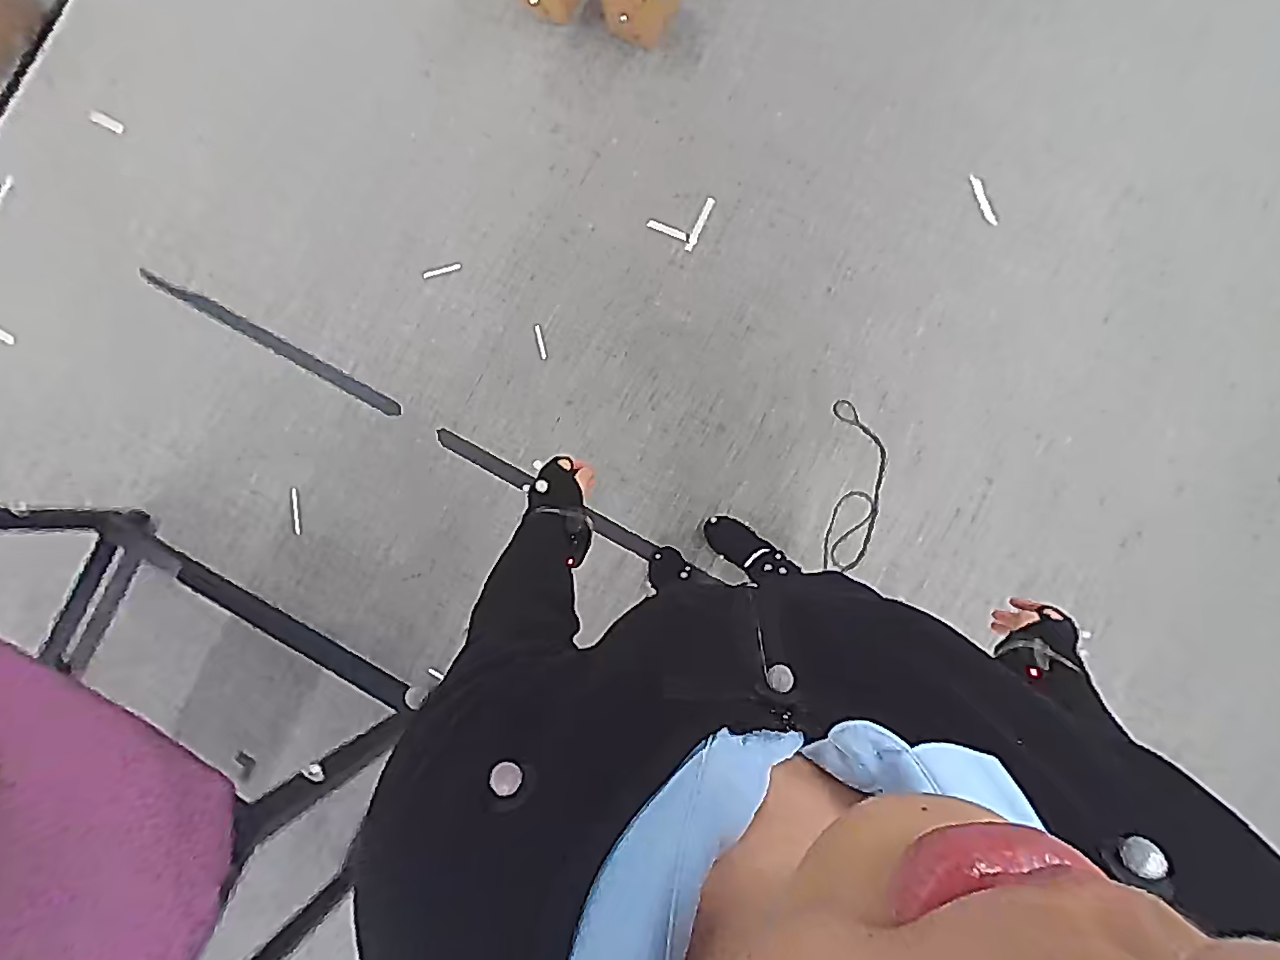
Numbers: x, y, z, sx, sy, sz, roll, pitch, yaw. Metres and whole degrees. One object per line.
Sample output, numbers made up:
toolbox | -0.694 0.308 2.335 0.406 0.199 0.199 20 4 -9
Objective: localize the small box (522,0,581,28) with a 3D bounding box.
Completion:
small box | -0.274 -1.547 1.643 0.168 0.176 0.179 30 89 8

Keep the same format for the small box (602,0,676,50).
small box | 0.001 -1.436 1.599 0.168 0.176 0.179 30 88 7
